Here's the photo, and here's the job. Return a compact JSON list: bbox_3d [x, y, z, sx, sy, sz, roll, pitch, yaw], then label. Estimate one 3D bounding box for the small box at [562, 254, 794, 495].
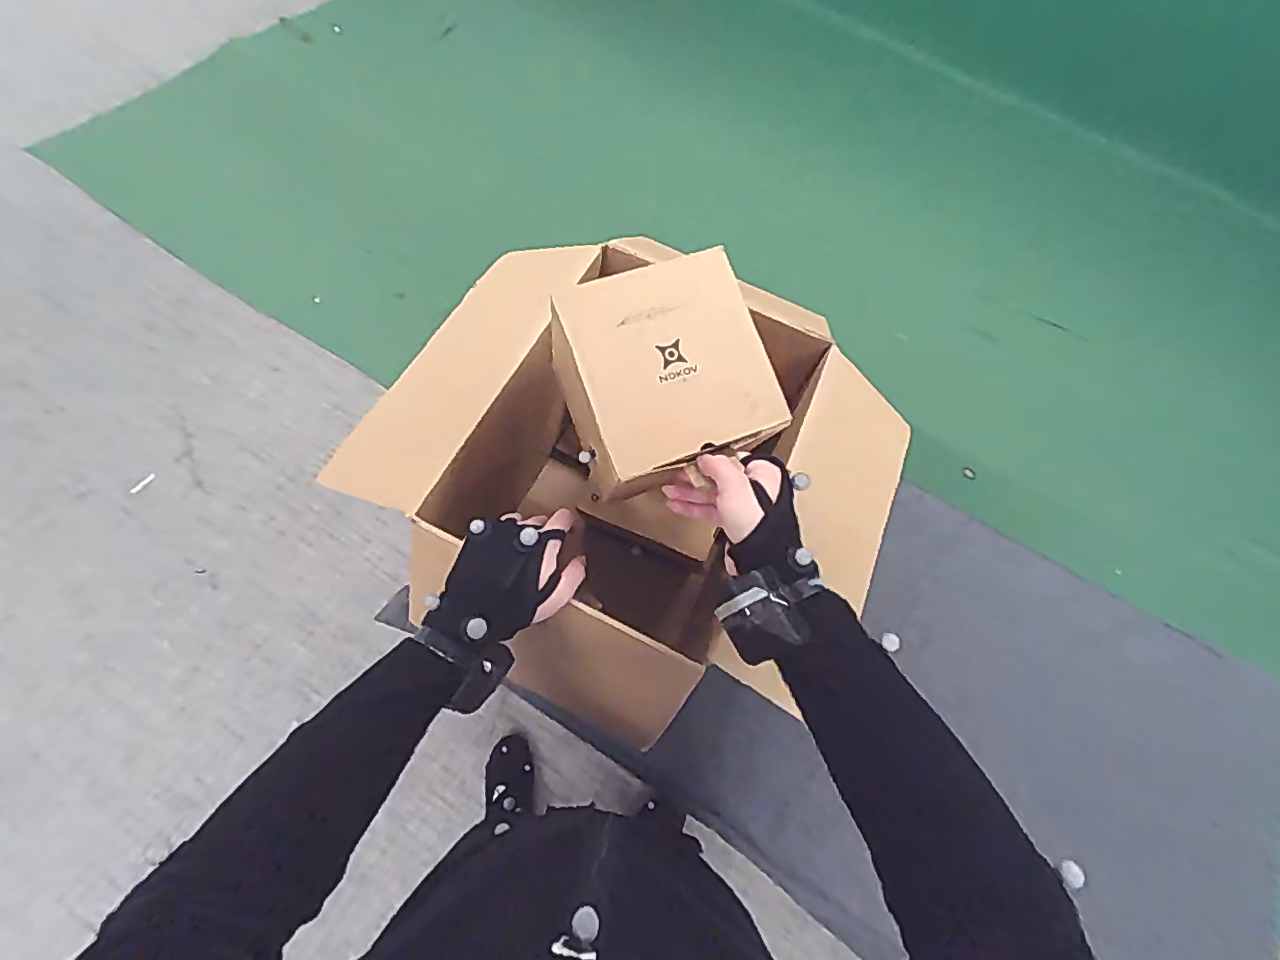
[{"bbox_3d":[0.026,-0.092,0.557,0.168,0.176,0.179,-19,82,-12],"label":"small box"}]
